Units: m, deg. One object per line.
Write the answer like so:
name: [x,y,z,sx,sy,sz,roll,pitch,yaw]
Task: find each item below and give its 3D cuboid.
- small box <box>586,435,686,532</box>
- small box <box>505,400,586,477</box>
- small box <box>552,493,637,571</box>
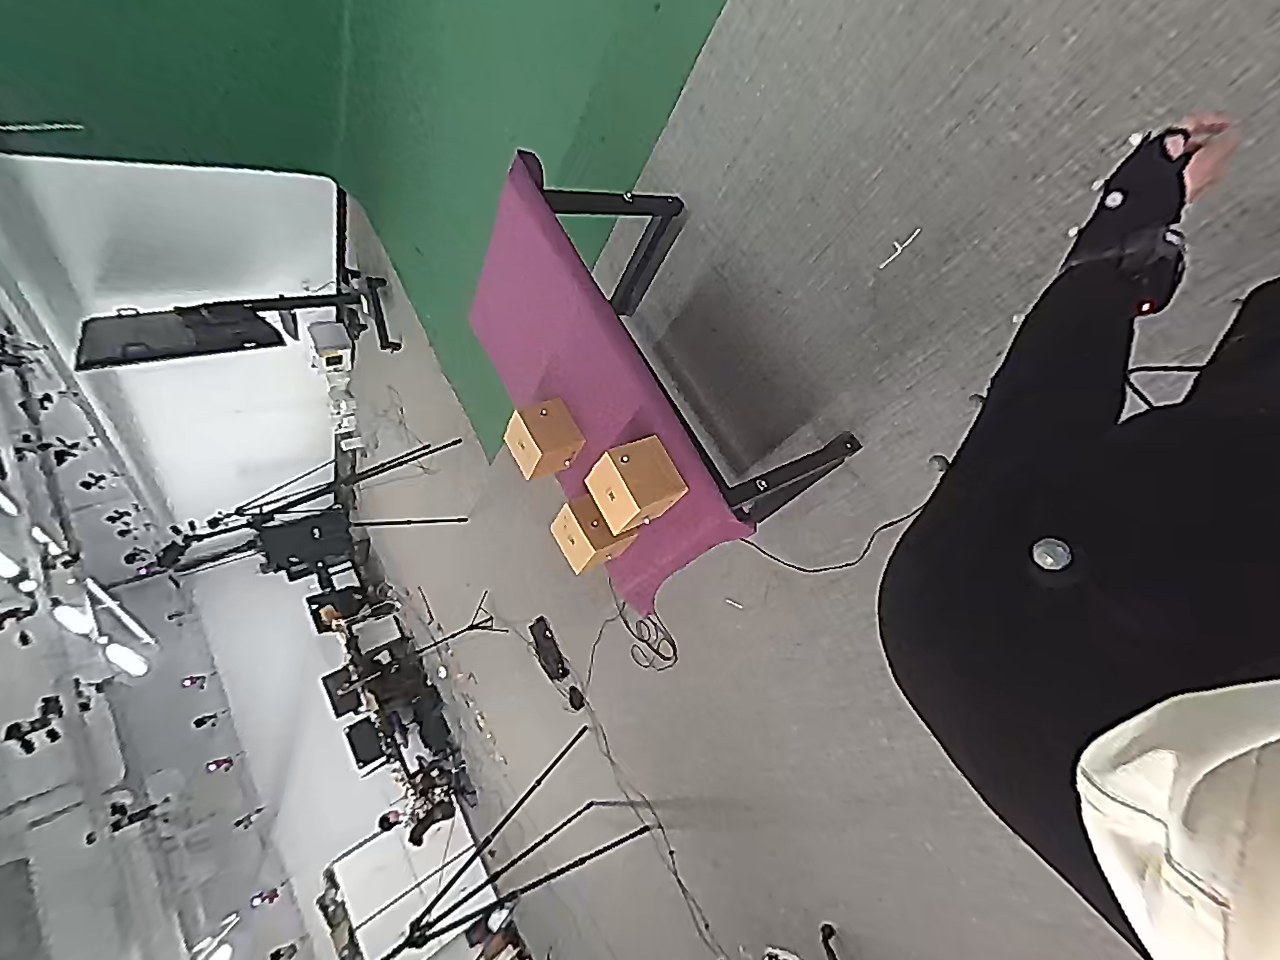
small box: [-0.010,0.007,1.416,0.179,0.176,0.168,61,144,14]
small box: [-0.302,-0.139,1.723,0.179,0.176,0.168,58,142,15]
small box: [-0.136,0.144,1.640,0.179,0.176,0.168,58,141,16]
